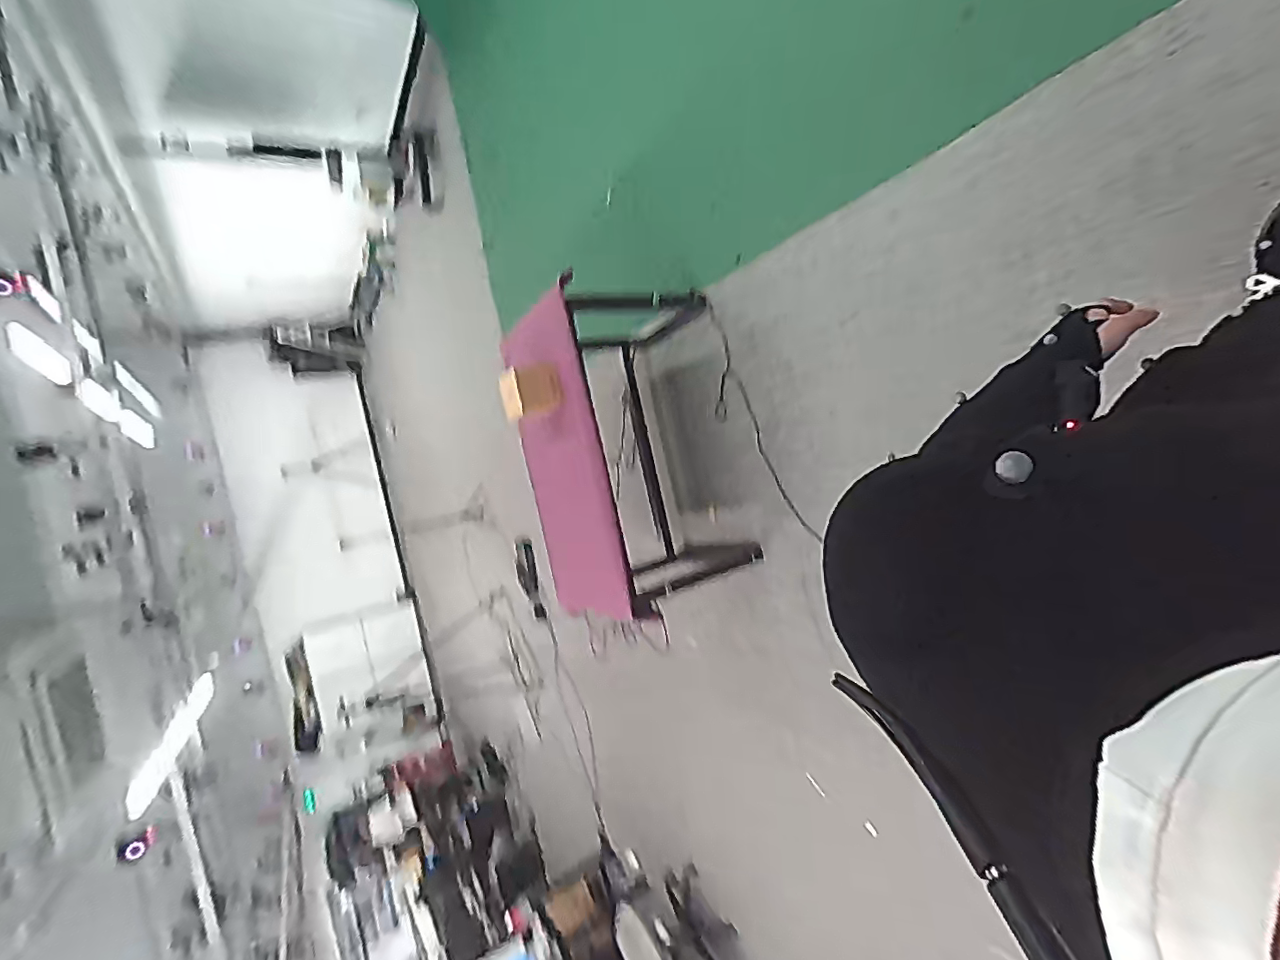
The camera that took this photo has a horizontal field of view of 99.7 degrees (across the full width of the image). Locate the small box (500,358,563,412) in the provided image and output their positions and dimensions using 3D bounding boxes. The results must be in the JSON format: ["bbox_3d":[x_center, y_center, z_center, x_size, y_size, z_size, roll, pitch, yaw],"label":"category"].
[{"bbox_3d":[-0.410,-0.358,2.045,0.179,0.176,0.168,-6,98,58],"label":"small box"}]
